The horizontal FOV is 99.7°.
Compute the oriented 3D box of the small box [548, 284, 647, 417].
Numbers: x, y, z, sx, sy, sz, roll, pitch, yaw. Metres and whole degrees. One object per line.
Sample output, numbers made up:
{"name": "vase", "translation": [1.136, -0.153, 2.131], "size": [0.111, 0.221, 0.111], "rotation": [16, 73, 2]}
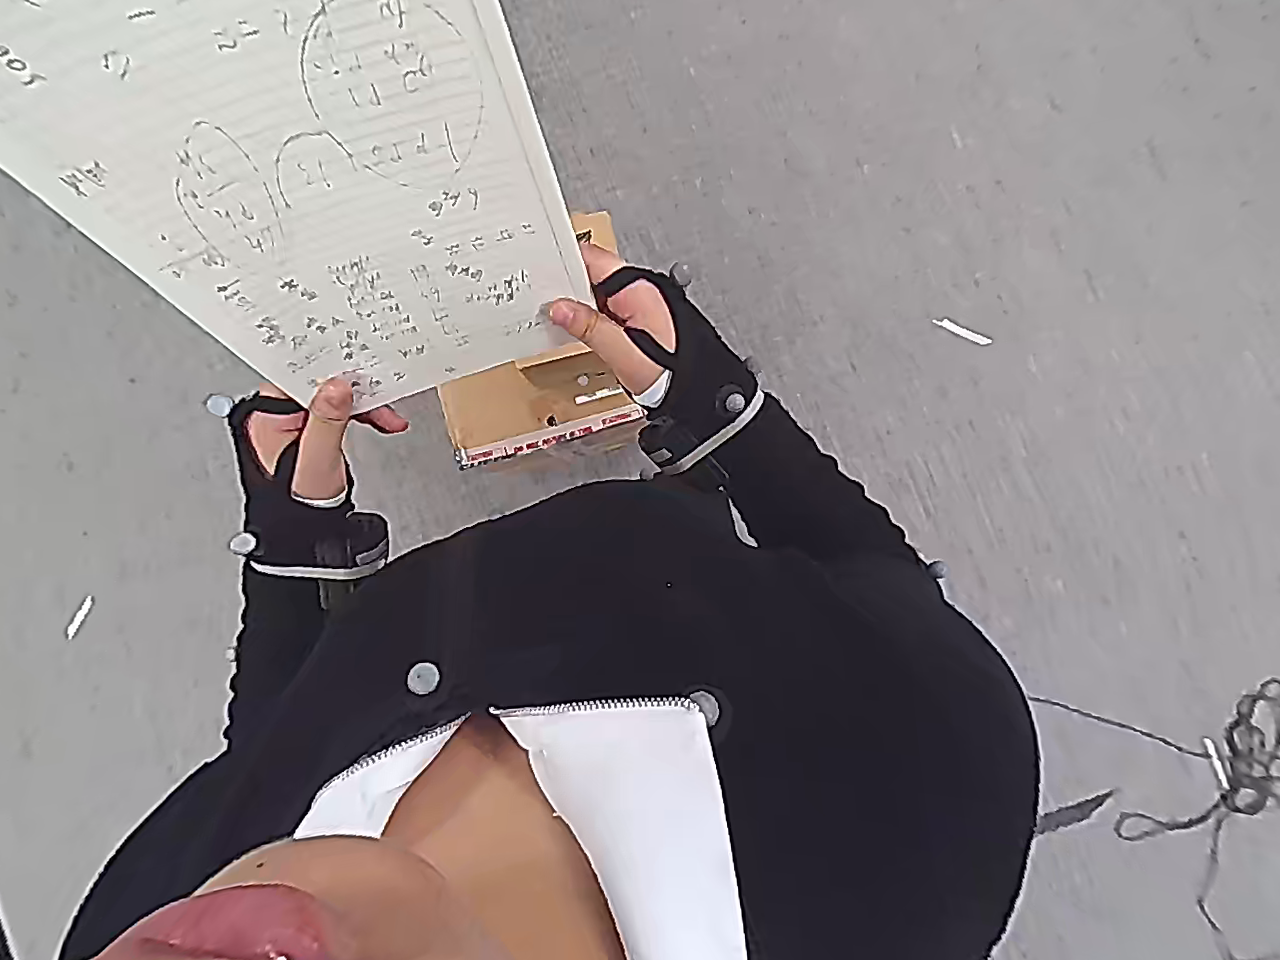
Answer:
{"name": "small box", "translation": [-0.095, -0.219, 0.958], "size": [0.179, 0.176, 0.168], "rotation": [-17, 90, -1]}

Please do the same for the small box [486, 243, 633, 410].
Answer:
{"name": "small box", "translation": [-0.110, -0.213, 0.793], "size": [0.168, 0.176, 0.179], "rotation": [-14, 91, -2]}
